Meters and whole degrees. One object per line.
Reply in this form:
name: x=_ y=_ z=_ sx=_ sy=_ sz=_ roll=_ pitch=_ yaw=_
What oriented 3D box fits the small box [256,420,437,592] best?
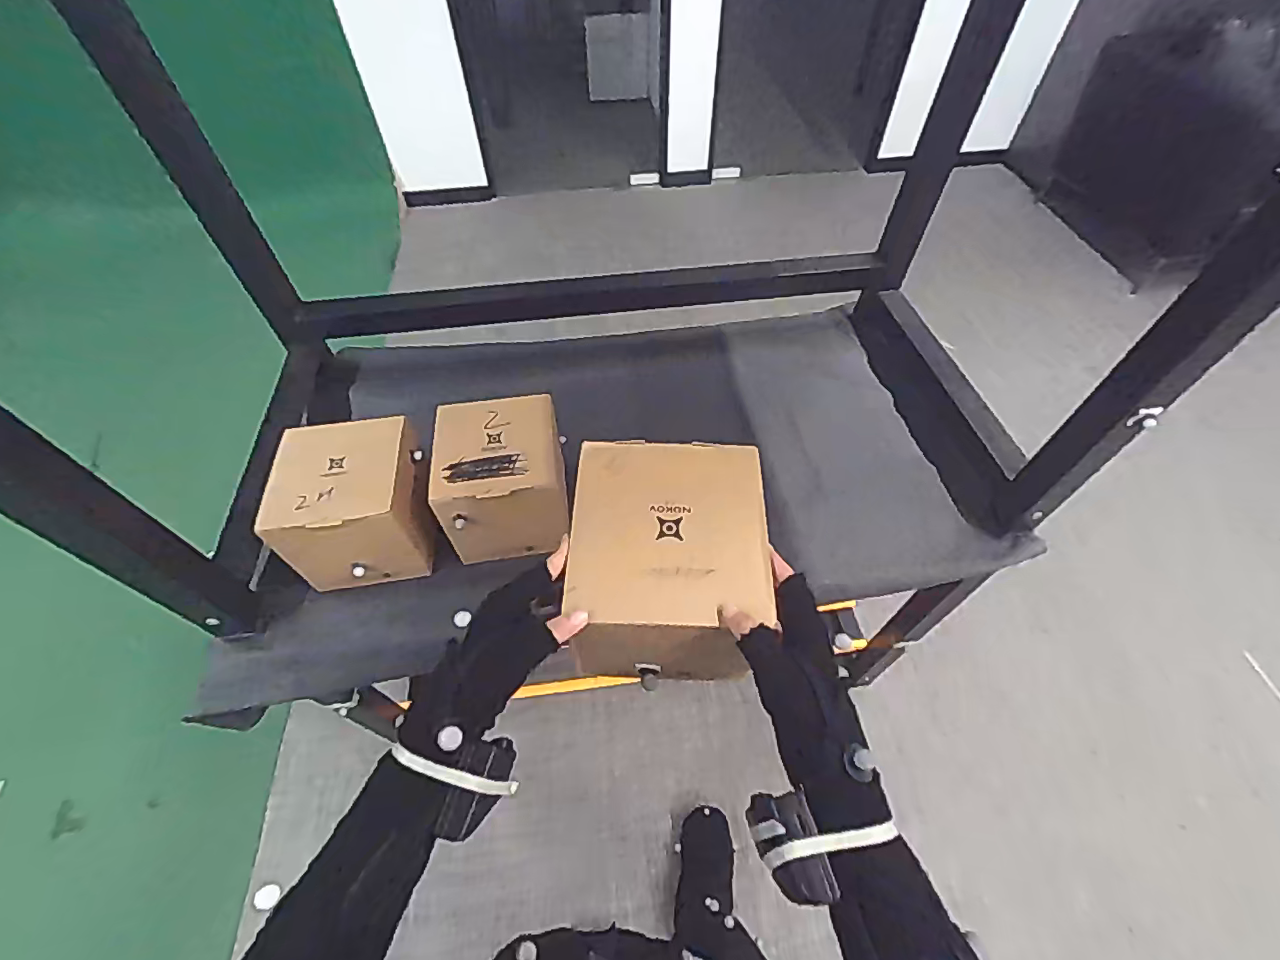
small box: x=-0.402 y=0.039 z=0.781 sx=0.168 sy=0.176 sz=0.179 roll=-7 pitch=53 yaw=-6
